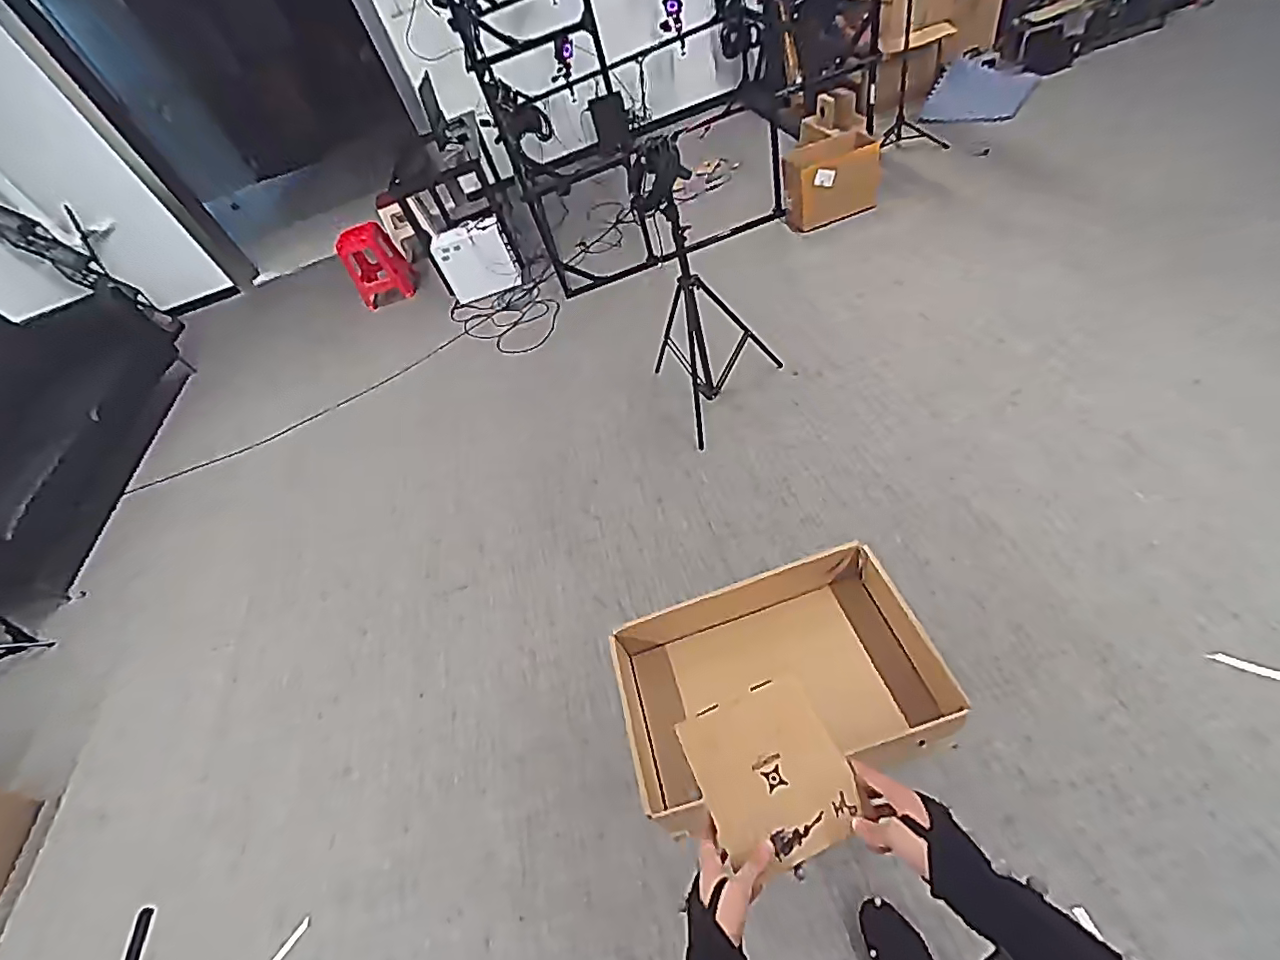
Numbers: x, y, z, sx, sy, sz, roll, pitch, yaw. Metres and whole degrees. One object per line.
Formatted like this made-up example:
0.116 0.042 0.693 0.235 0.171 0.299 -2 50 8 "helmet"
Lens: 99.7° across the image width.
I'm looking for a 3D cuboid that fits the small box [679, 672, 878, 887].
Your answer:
0.159 0.376 0.682 0.168 0.176 0.179 -22 57 -7 "small box"
